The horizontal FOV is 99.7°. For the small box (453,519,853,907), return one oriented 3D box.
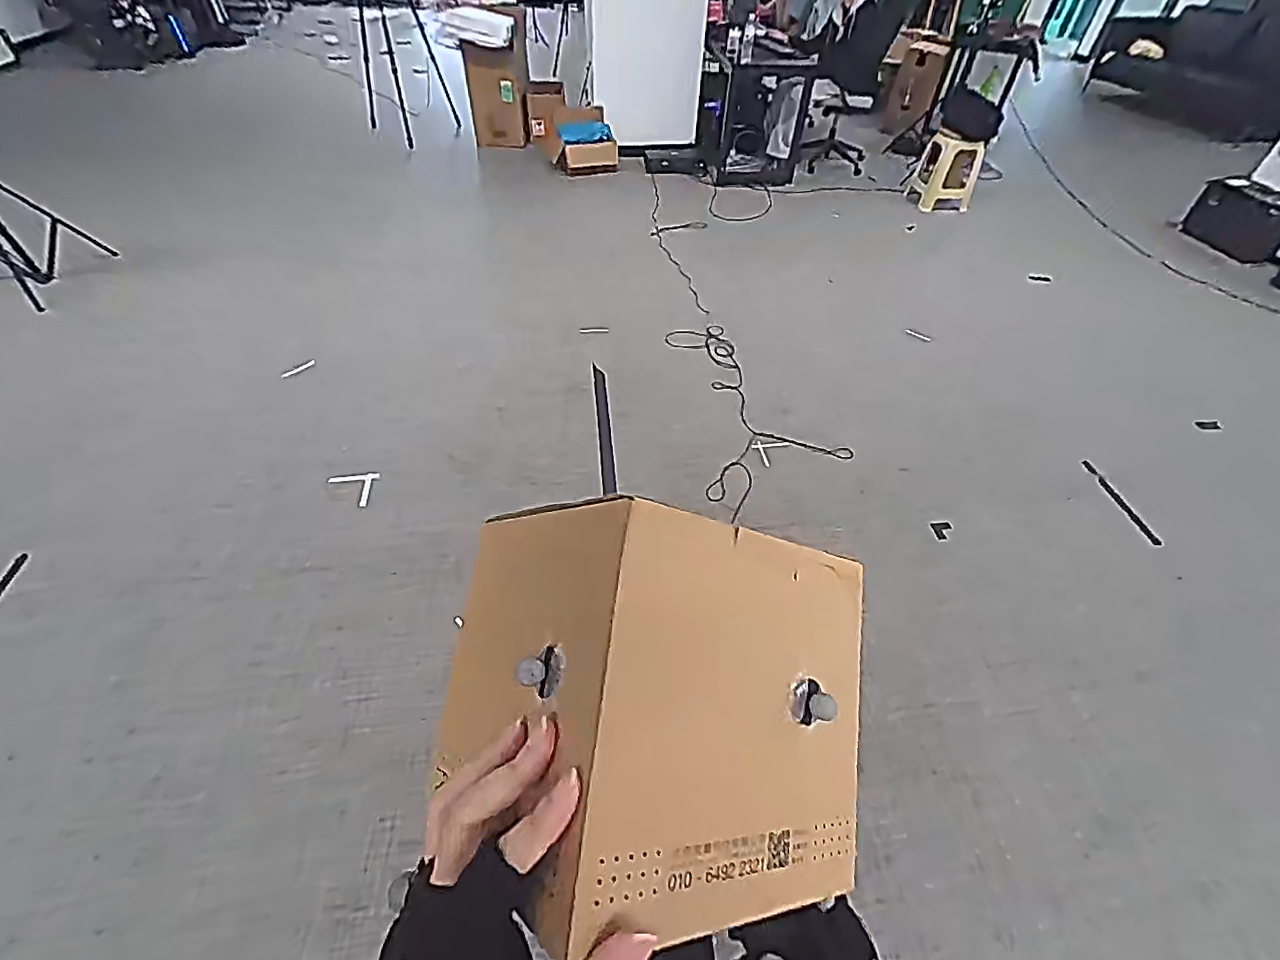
[{"bbox_3d":[0.004,0.126,0.329,0.168,0.179,0.176,18,73,-33],"label":"small box"}]
